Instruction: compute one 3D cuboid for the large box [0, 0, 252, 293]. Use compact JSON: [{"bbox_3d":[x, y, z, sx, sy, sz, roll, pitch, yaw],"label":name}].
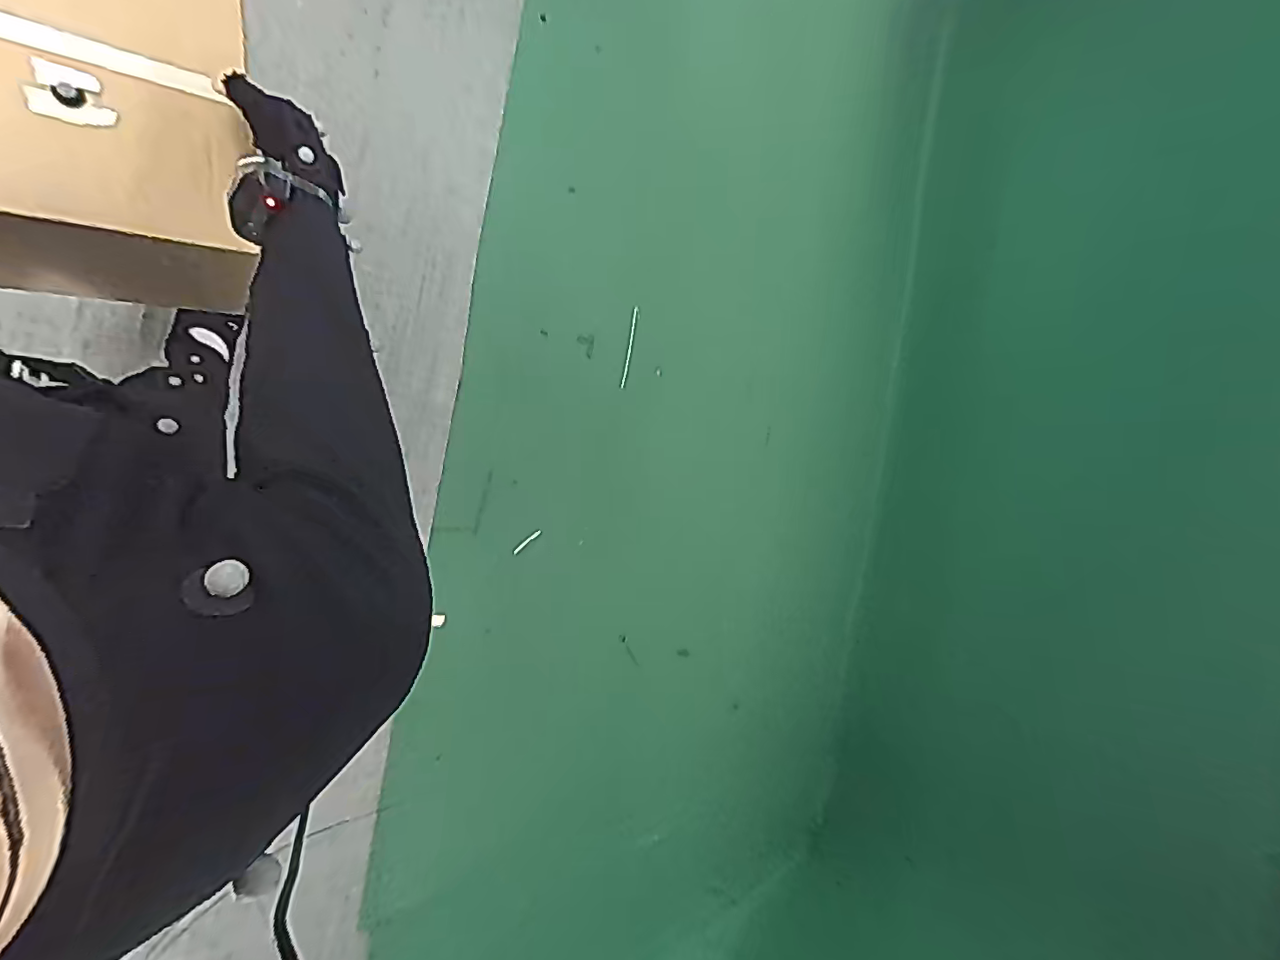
[{"bbox_3d":[-0.675,-0.408,0.556,0.408,0.320,0.320,-5,96,-41],"label":"large box"}]
